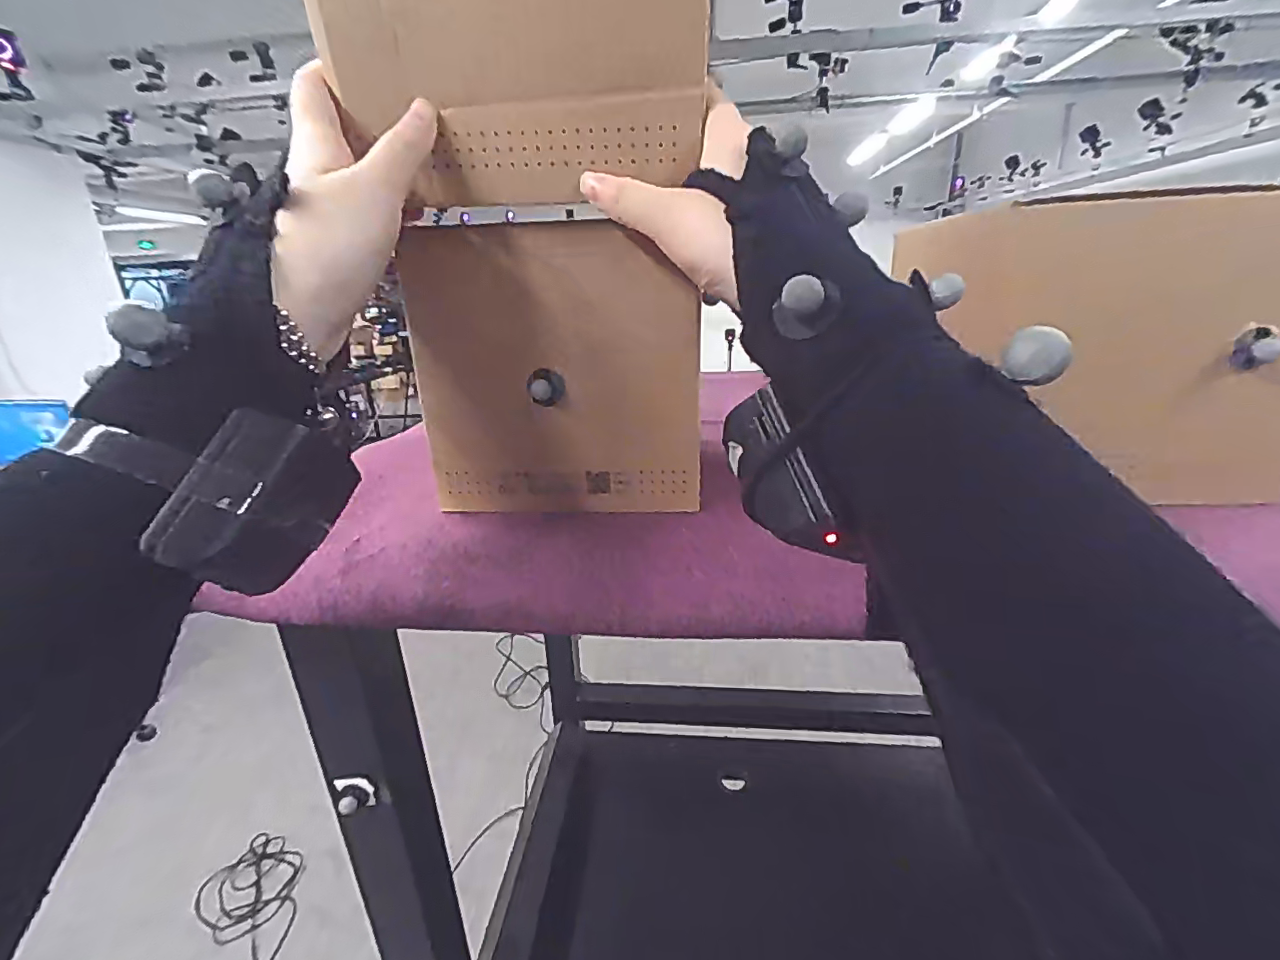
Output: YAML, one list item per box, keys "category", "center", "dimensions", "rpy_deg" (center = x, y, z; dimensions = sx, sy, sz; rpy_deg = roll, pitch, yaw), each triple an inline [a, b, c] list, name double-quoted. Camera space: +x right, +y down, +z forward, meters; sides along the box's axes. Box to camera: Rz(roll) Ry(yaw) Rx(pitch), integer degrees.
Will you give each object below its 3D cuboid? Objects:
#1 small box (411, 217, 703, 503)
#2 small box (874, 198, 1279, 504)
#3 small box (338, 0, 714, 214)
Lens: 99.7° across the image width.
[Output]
- category: "small box"
  center: [-0.038, -0.088, 0.397]
  dimensions: [0.168, 0.176, 0.179]
  rpy_deg: [1, 19, 4]
- category: "small box"
  center: [0.283, -0.088, 0.376]
  dimensions: [0.179, 0.176, 0.168]
  rpy_deg: [-1, 19, 5]
- category: "small box"
  center: [-0.050, -0.246, 0.303]
  dimensions: [0.179, 0.176, 0.168]
  rpy_deg: [1, 30, 2]
